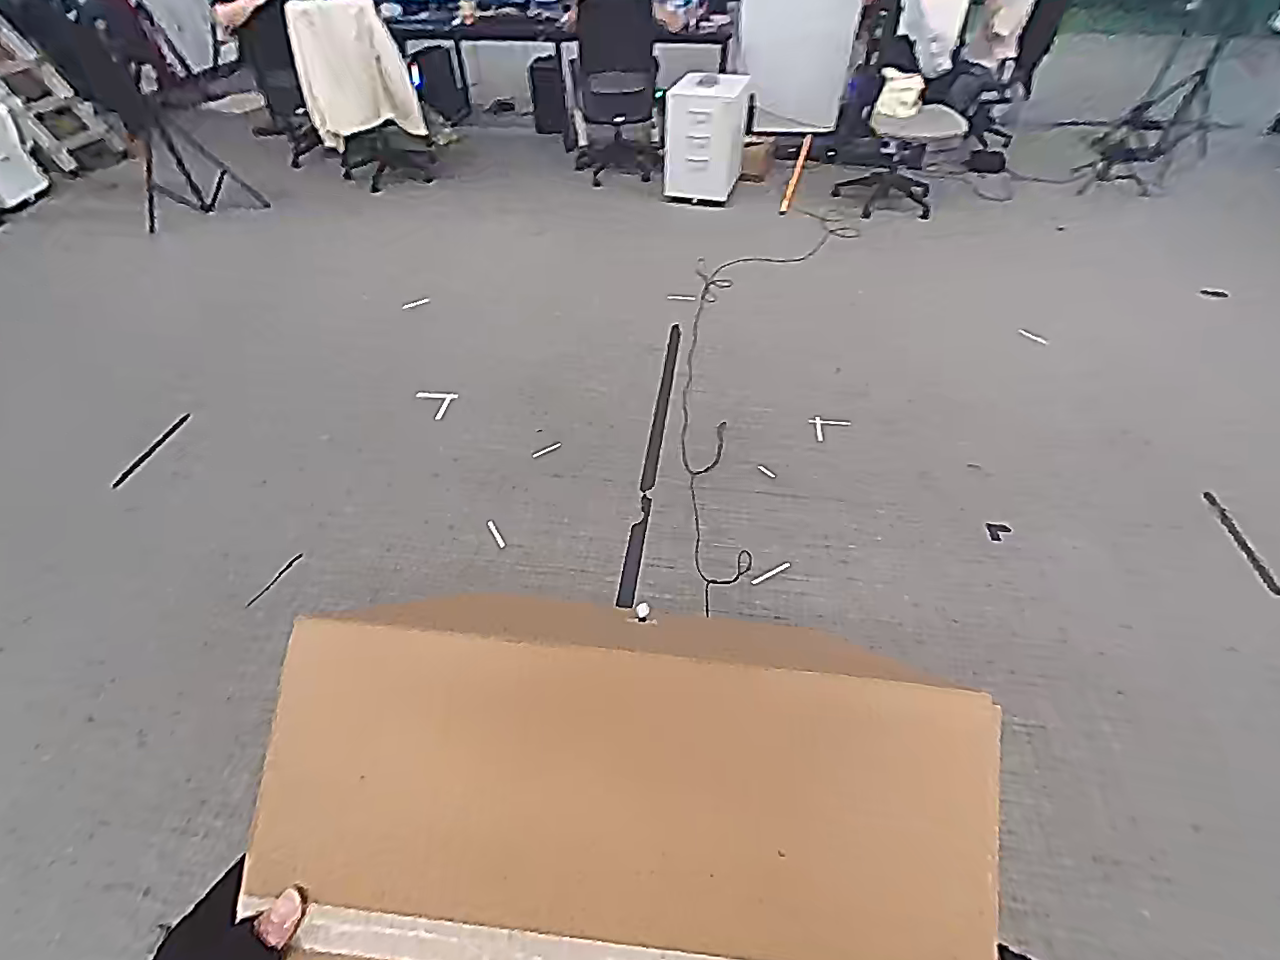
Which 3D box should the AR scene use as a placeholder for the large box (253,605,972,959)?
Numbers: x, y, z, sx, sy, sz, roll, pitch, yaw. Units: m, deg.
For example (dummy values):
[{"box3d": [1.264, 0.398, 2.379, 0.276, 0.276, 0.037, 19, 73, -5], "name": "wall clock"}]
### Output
[{"box3d": [-0.013, 0.287, 0.448, 0.408, 0.320, 0.320, 5, 81, 2], "name": "large box"}]
